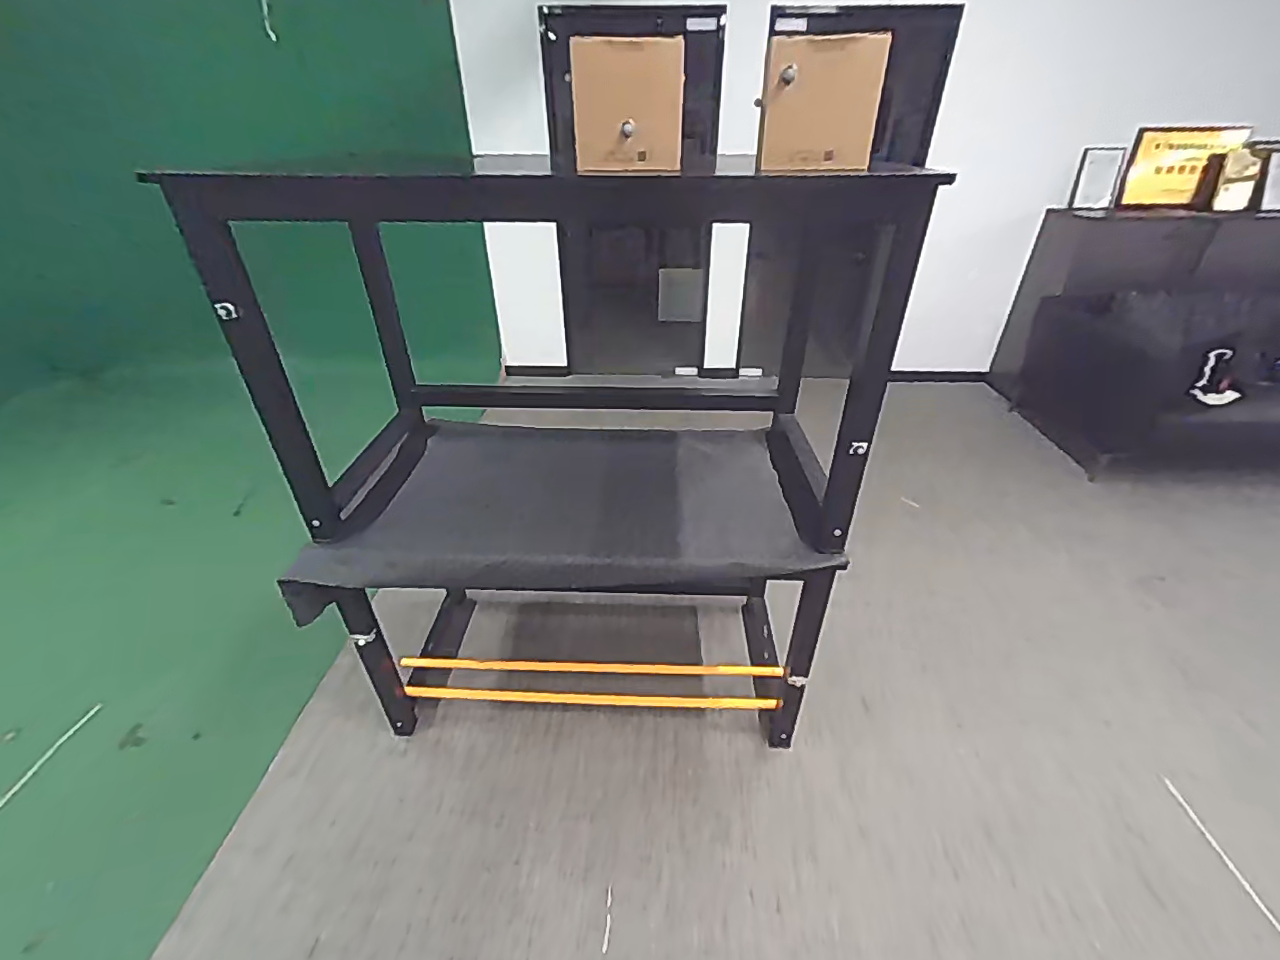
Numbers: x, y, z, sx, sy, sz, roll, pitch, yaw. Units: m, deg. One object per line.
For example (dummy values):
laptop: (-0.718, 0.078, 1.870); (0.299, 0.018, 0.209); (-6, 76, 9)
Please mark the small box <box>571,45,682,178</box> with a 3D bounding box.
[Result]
small box: (-0.024, -0.605, 0.900); (0.168, 0.176, 0.179); (-2, 33, -2)
